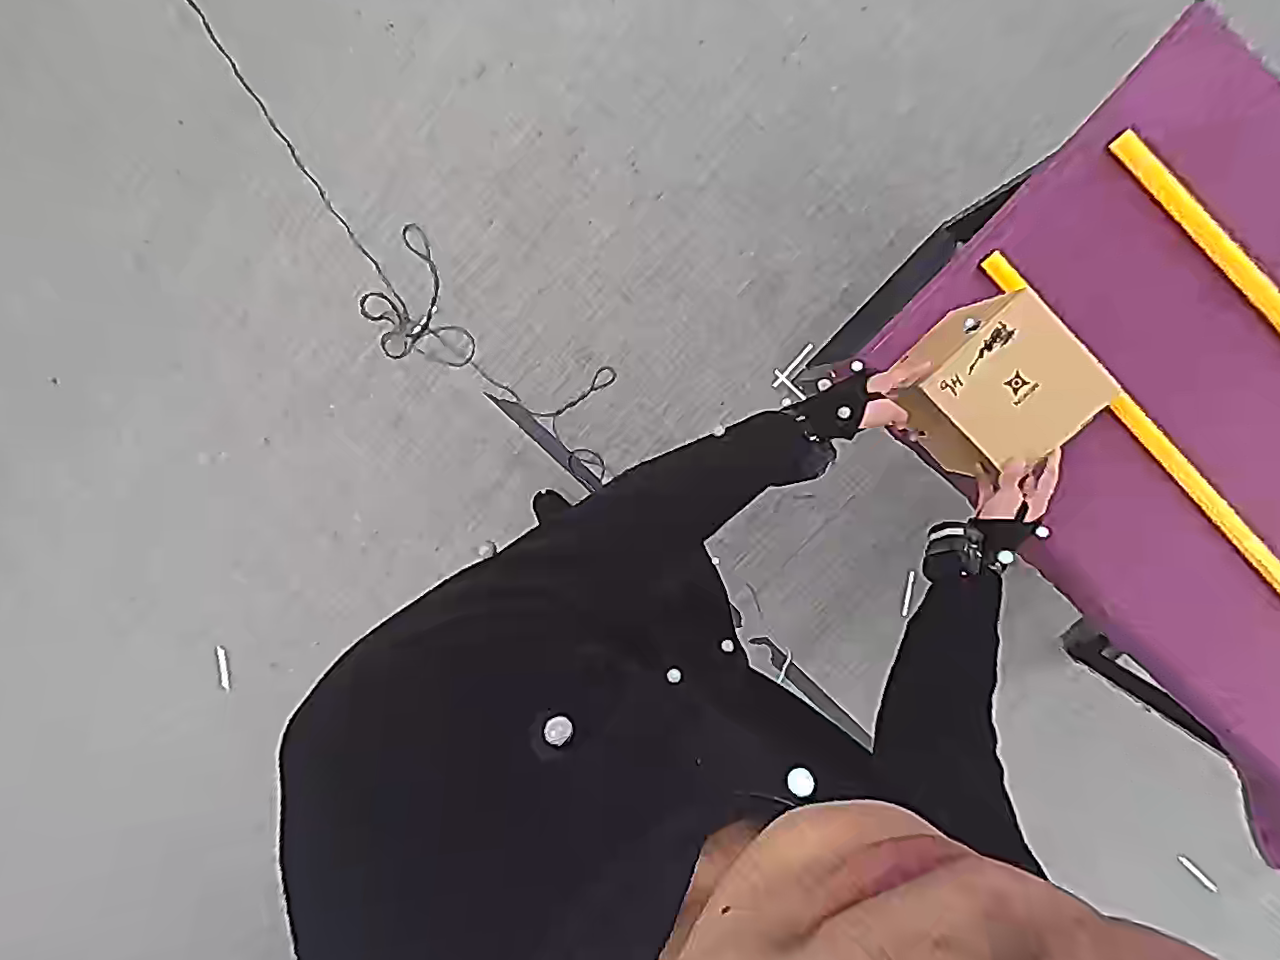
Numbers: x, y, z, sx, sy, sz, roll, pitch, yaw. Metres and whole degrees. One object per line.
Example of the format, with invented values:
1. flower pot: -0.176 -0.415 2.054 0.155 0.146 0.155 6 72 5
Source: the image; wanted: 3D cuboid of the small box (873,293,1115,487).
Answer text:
1. small box: 0.456 -0.120 0.728 0.168 0.176 0.179 -44 95 8
